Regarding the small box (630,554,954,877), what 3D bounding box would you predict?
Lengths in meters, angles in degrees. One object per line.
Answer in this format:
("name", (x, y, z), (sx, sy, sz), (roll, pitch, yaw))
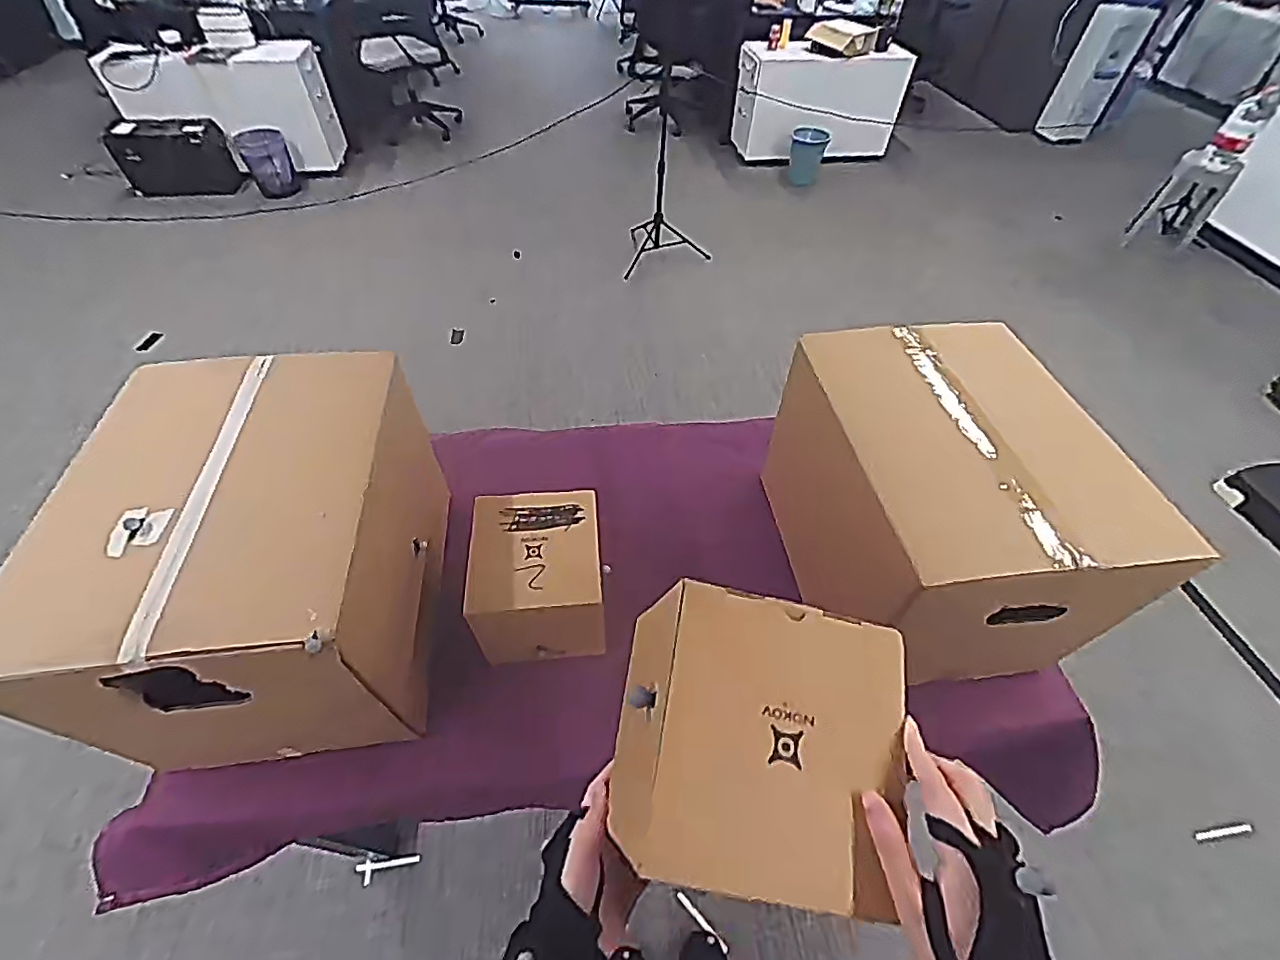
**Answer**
("small box", (0.095, 0.168, 0.391), (0.179, 0.176, 0.168), (1, 45, 8))
